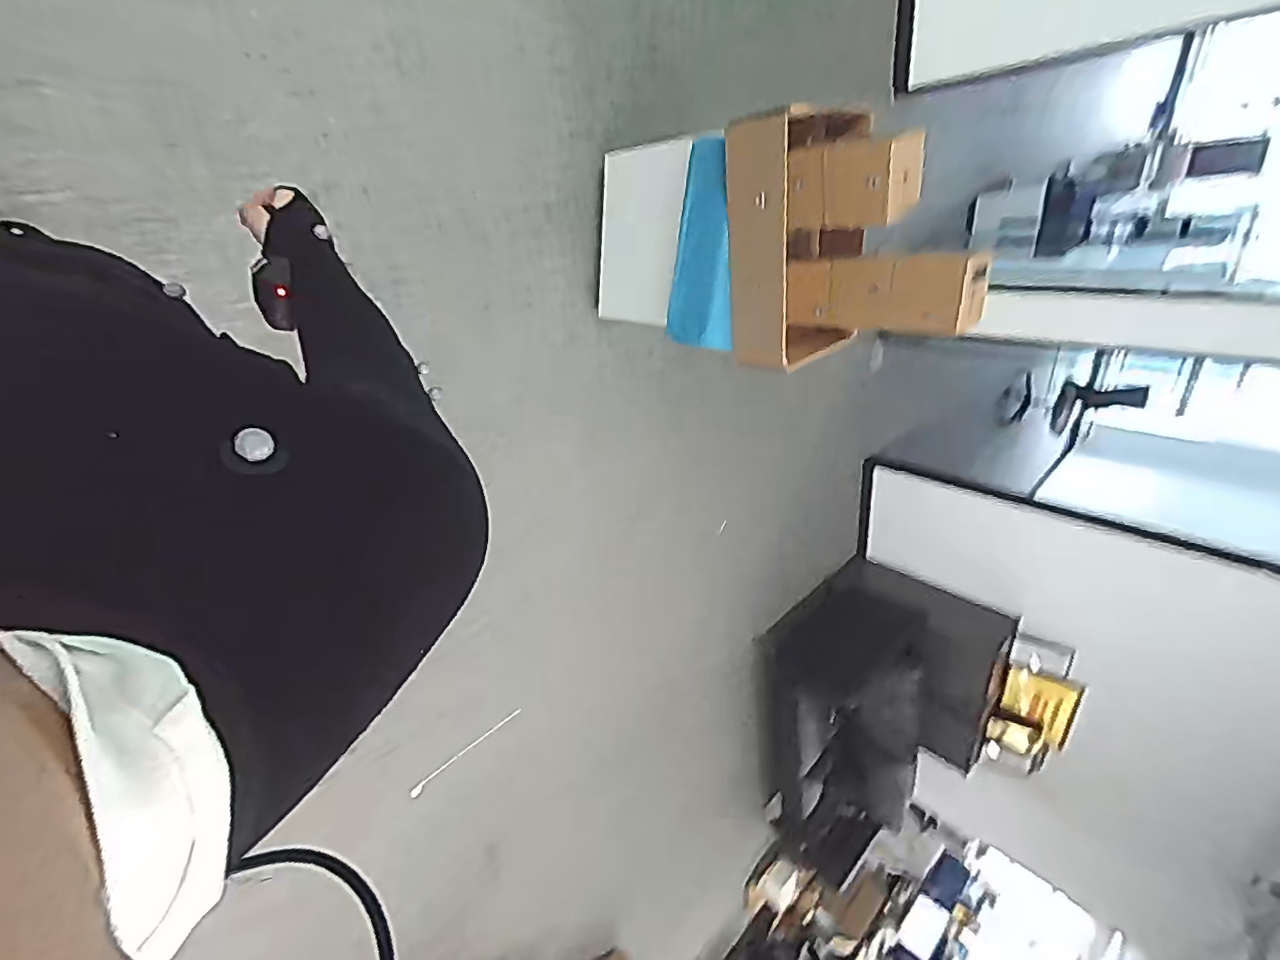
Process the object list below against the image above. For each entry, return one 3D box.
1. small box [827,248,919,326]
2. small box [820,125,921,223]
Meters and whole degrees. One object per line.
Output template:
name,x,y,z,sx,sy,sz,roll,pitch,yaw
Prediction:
small box,0.626,-0.525,1.465,0.168,0.176,0.179,-25,123,-35
small box,0.550,-0.732,1.303,0.168,0.176,0.179,-34,128,-31
